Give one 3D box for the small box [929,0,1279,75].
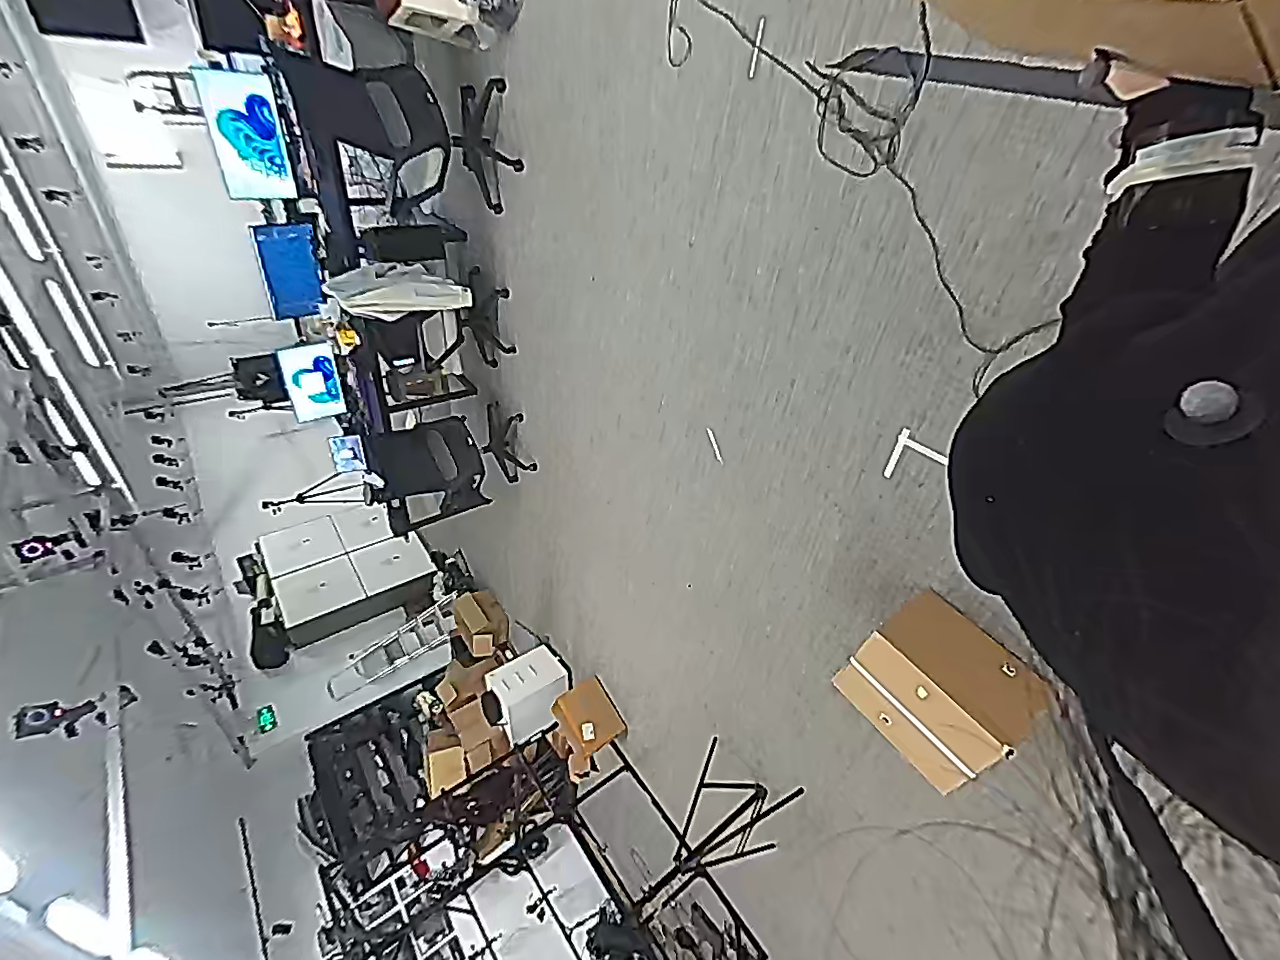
[{"bbox_3d":[0.277,-0.328,0.270,0.179,0.176,0.168,46,135,34],"label":"small box"}]
